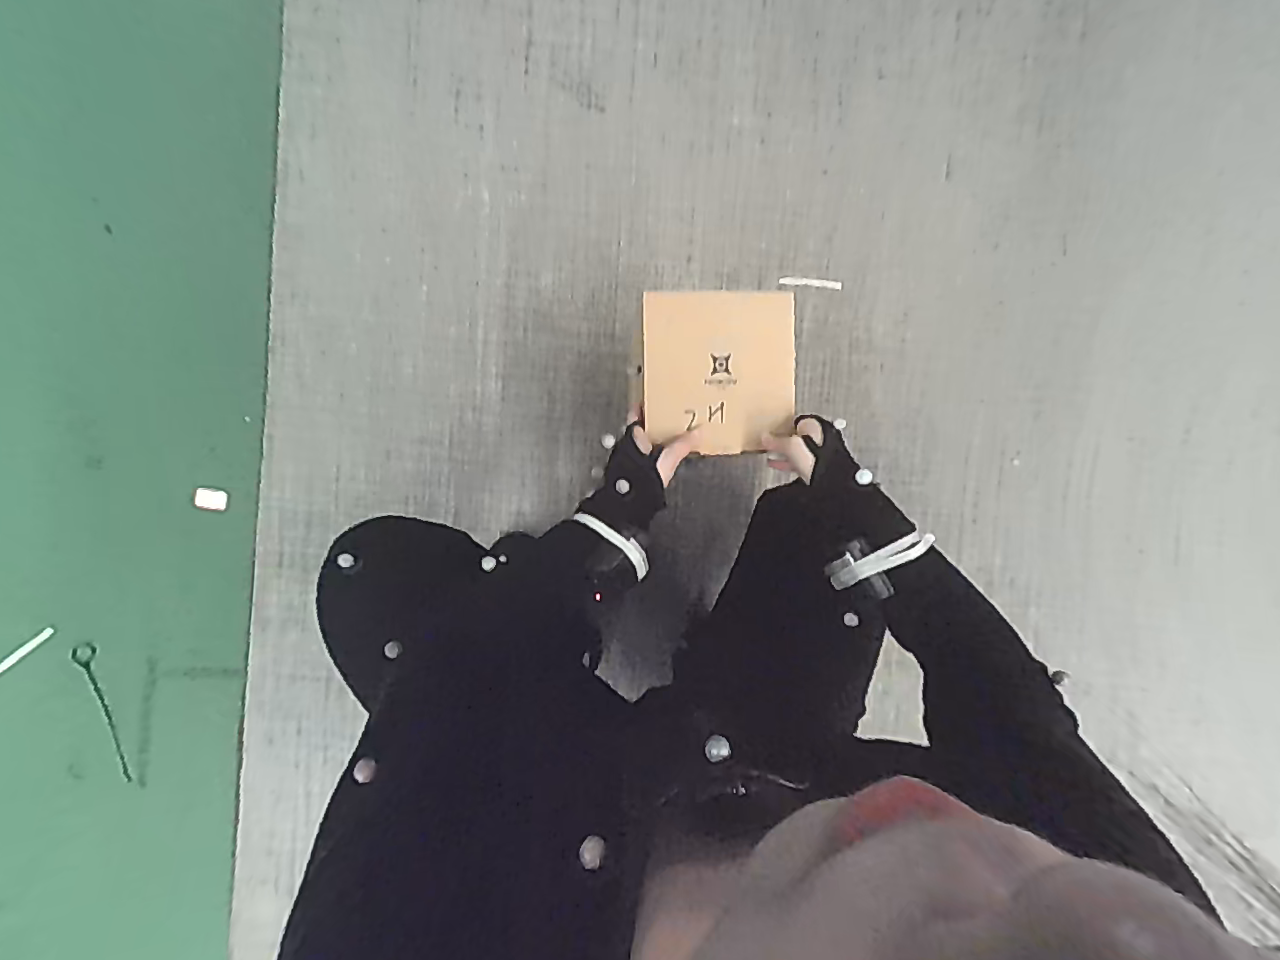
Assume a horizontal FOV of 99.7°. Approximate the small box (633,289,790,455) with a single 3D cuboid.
[{"bbox_3d":[0.078,-0.120,0.667,0.168,0.176,0.179,0,92,-3],"label":"small box"}]
